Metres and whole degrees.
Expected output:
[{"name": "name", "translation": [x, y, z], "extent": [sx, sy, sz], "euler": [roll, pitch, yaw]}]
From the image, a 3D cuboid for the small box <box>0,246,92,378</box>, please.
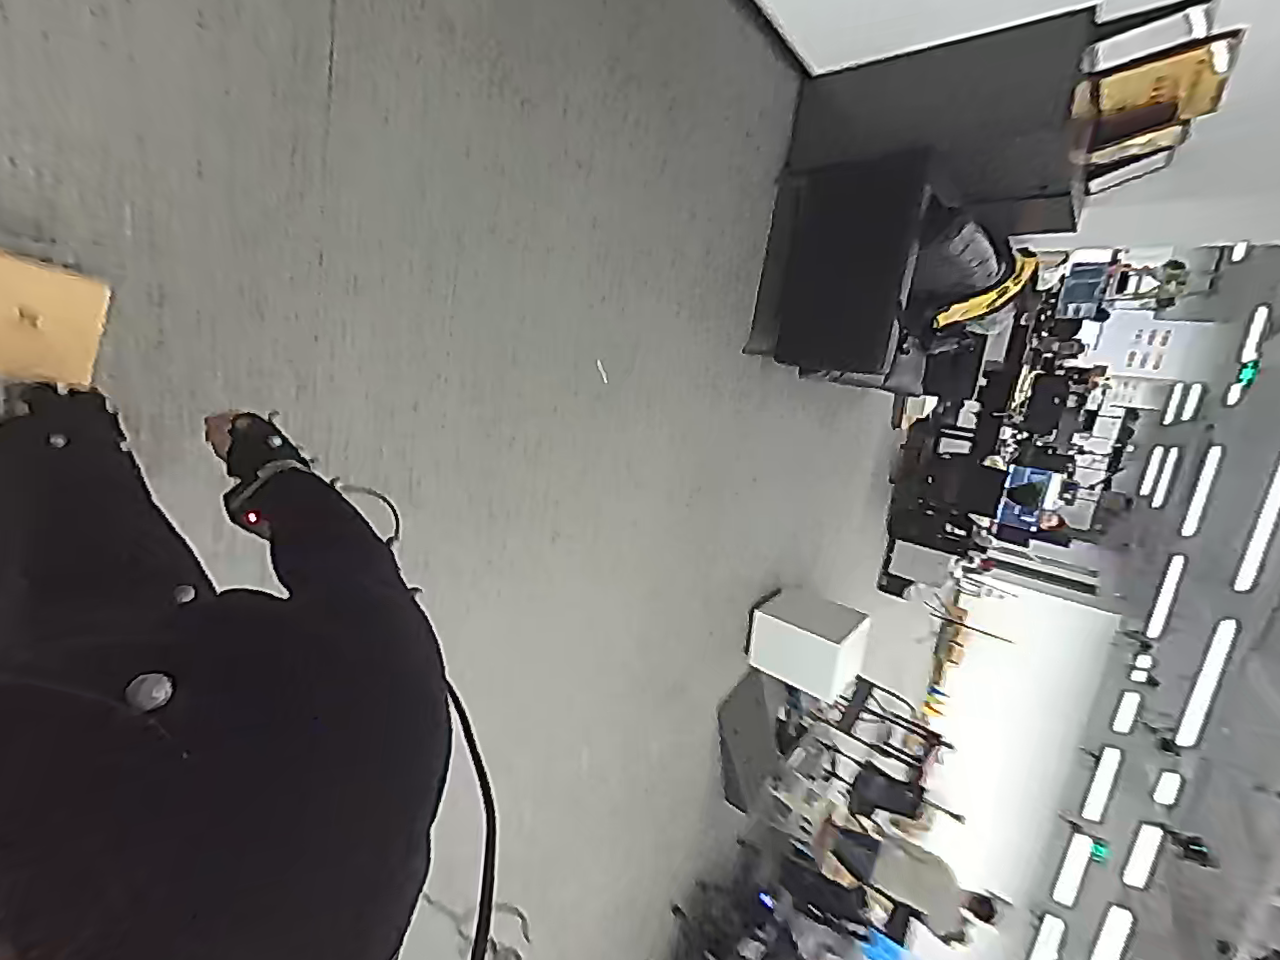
[{"name": "small box", "translation": [-1.023, -0.278, 0.863], "extent": [0.168, 0.176, 0.179], "euler": [13, 93, -53]}]
